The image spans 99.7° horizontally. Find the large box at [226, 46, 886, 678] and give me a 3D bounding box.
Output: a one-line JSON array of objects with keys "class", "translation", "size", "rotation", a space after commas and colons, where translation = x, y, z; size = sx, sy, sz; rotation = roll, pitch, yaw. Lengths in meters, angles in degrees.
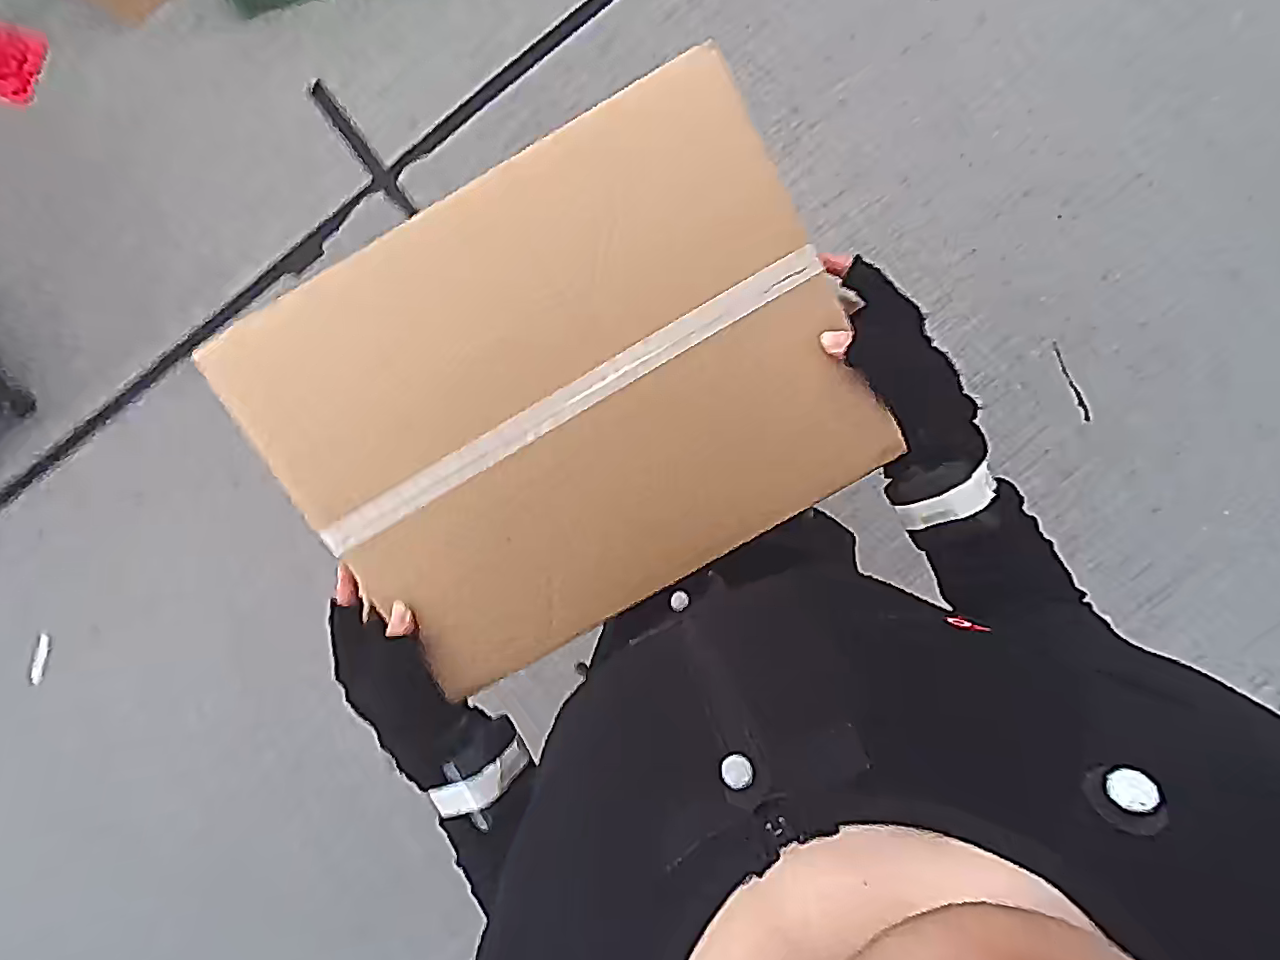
[{"class": "large box", "translation": [-0.061, -0.091, 0.545], "size": [0.408, 0.320, 0.320], "rotation": [-30, 102, 3]}]
